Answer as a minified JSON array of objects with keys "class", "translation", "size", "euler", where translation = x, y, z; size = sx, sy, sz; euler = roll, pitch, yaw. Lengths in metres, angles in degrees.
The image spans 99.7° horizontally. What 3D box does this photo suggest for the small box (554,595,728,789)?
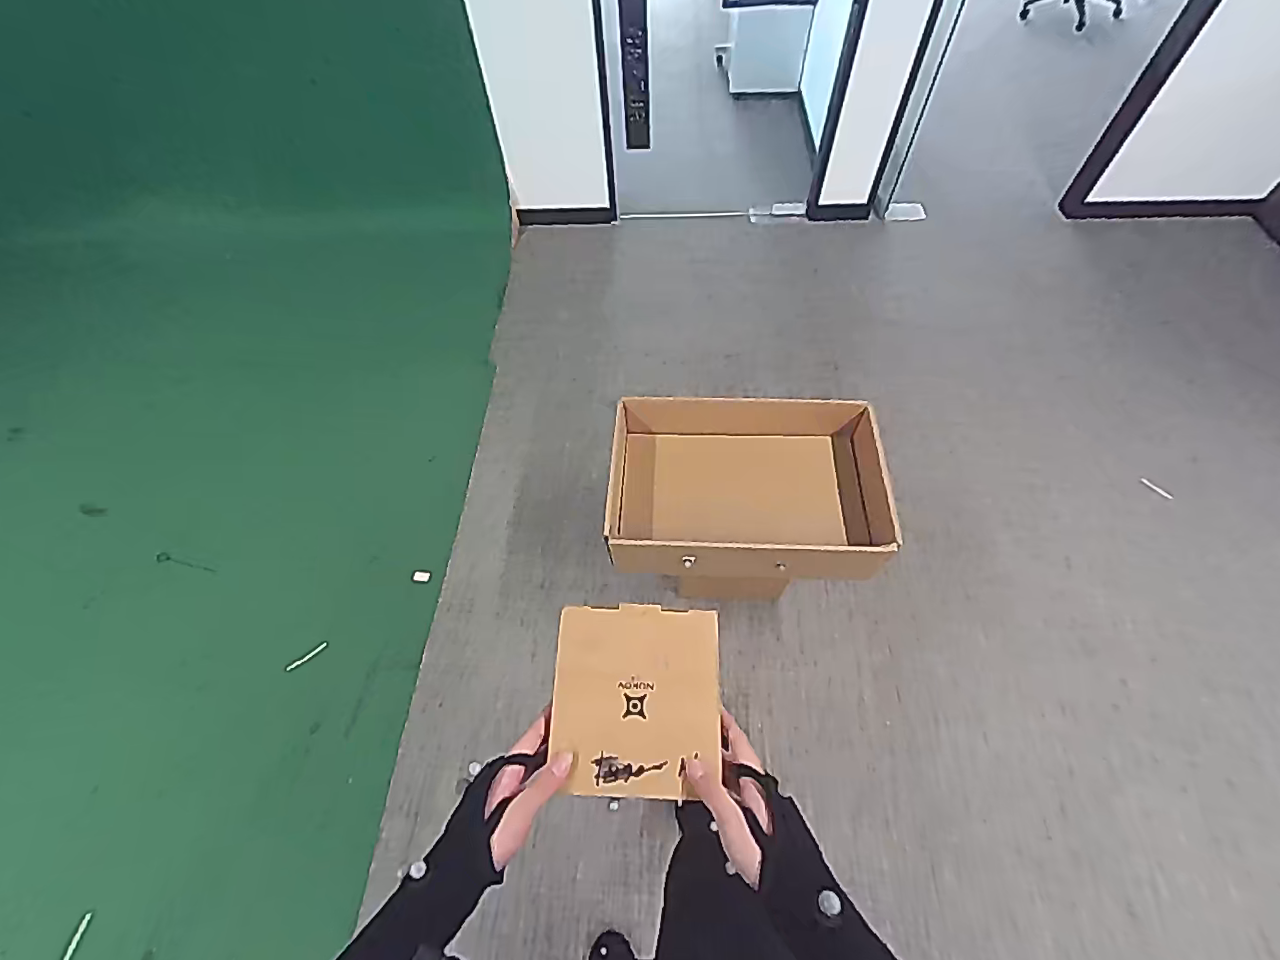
[{"class":"small box","translation":[0.004,0.238,0.610],"size":[0.168,0.176,0.179],"euler":[2,65,1]}]
